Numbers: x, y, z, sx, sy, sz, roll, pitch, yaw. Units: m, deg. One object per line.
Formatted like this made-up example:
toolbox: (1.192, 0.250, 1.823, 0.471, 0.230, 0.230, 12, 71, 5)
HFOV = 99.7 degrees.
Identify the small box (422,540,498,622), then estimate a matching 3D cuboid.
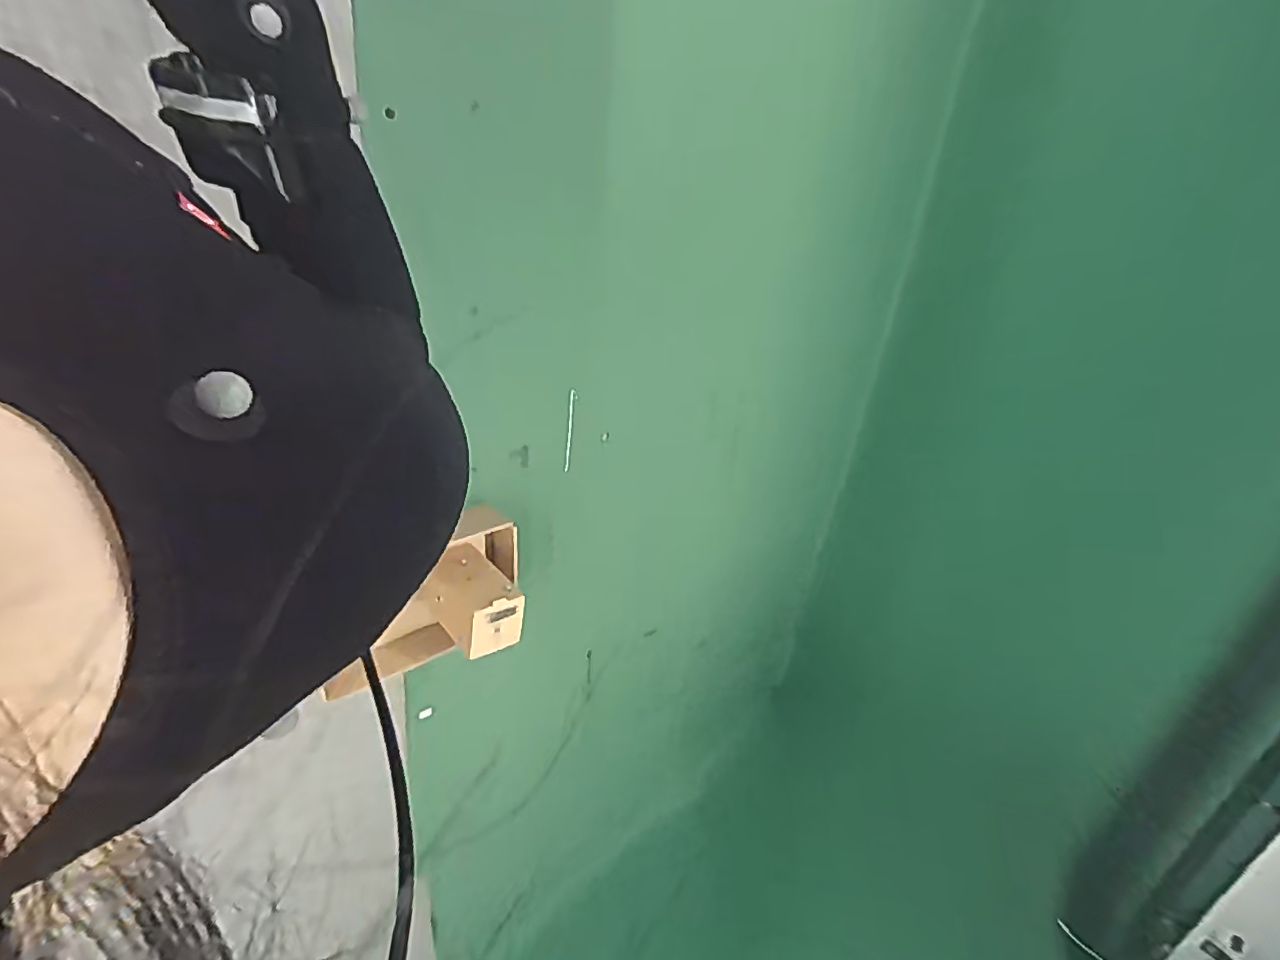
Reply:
small box: (-0.571, 0.311, 1.720, 0.179, 0.176, 0.168, -16, 124, -40)
